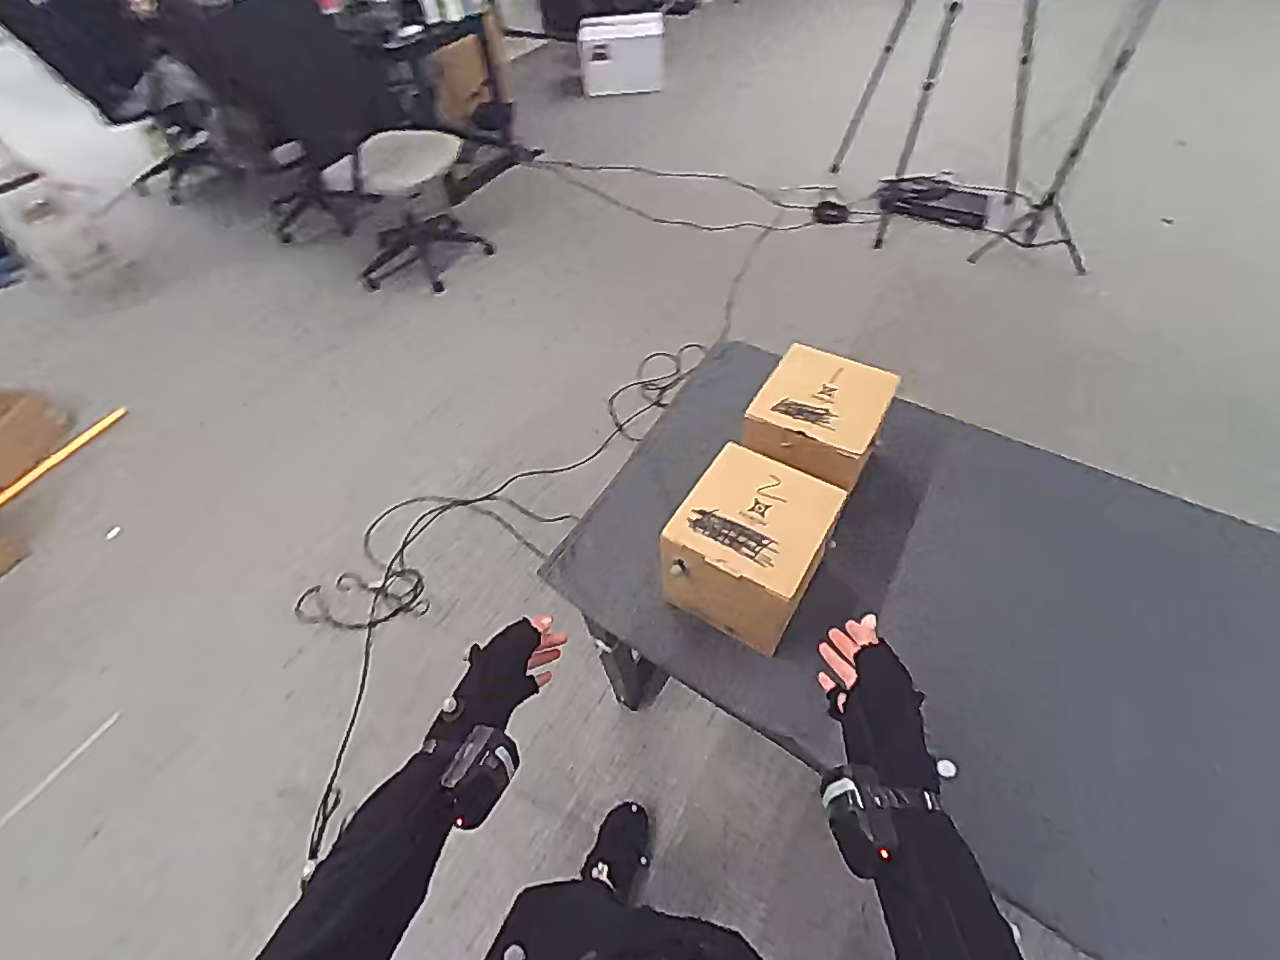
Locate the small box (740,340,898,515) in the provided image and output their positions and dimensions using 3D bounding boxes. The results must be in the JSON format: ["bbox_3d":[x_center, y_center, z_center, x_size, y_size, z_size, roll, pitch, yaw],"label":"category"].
[{"bbox_3d":[0.262,-0.076,0.825,0.168,0.176,0.179,25,59,21],"label":"small box"}]
